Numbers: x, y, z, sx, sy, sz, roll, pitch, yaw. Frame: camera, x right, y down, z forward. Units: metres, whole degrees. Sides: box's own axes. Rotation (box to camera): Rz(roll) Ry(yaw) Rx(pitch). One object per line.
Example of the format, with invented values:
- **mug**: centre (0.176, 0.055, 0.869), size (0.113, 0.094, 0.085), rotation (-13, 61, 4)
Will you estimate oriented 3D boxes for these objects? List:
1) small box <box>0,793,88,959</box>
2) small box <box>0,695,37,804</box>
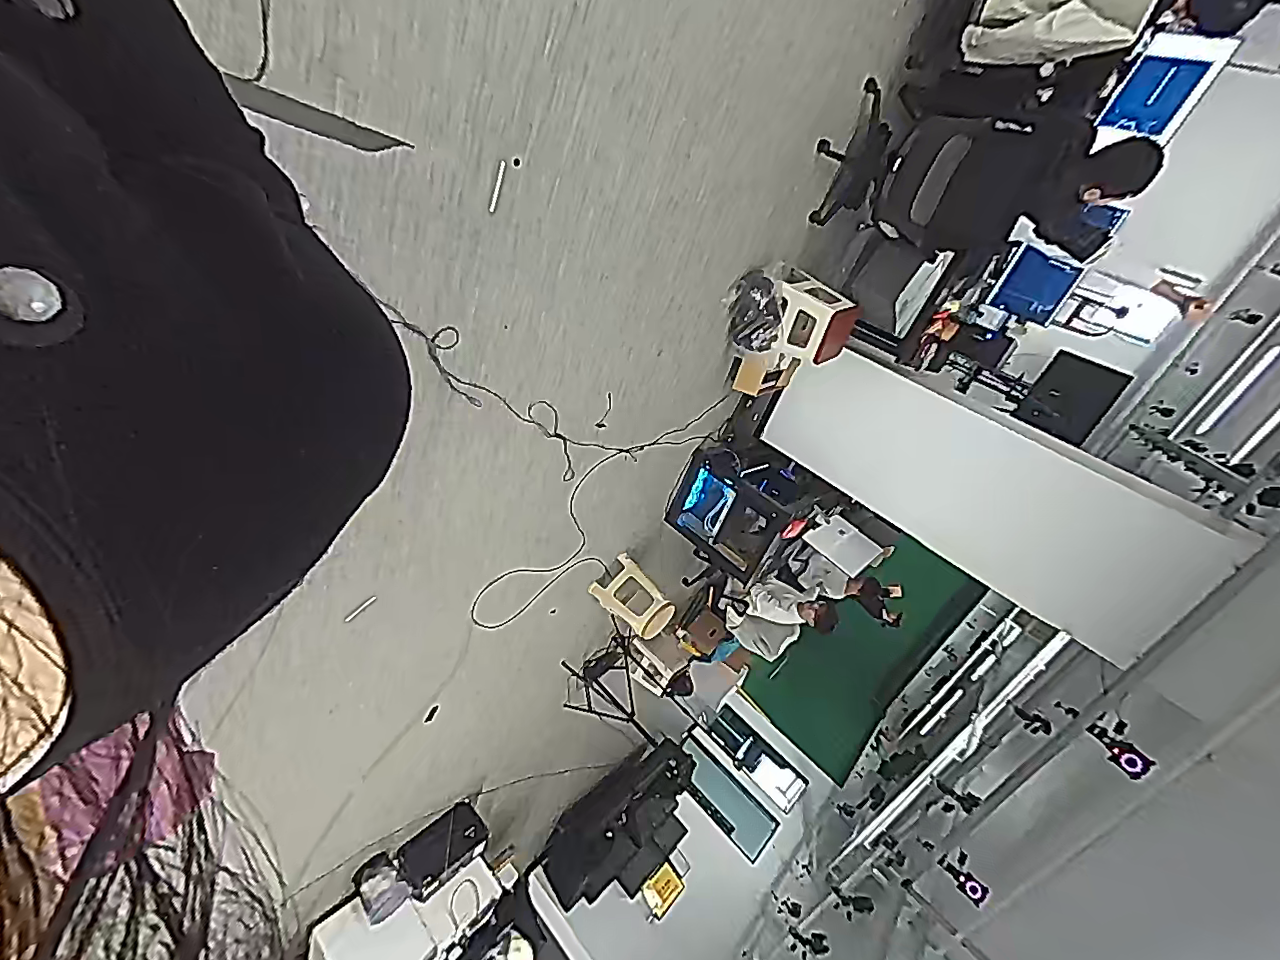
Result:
- **small box**: centre (-0.715, 0.477, 0.555), size (0.179, 0.176, 0.168), rotation (-18, 139, -49)
- **small box**: centre (-0.829, 0.388, 0.627), size (0.168, 0.176, 0.179), rotation (-16, 136, -50)
